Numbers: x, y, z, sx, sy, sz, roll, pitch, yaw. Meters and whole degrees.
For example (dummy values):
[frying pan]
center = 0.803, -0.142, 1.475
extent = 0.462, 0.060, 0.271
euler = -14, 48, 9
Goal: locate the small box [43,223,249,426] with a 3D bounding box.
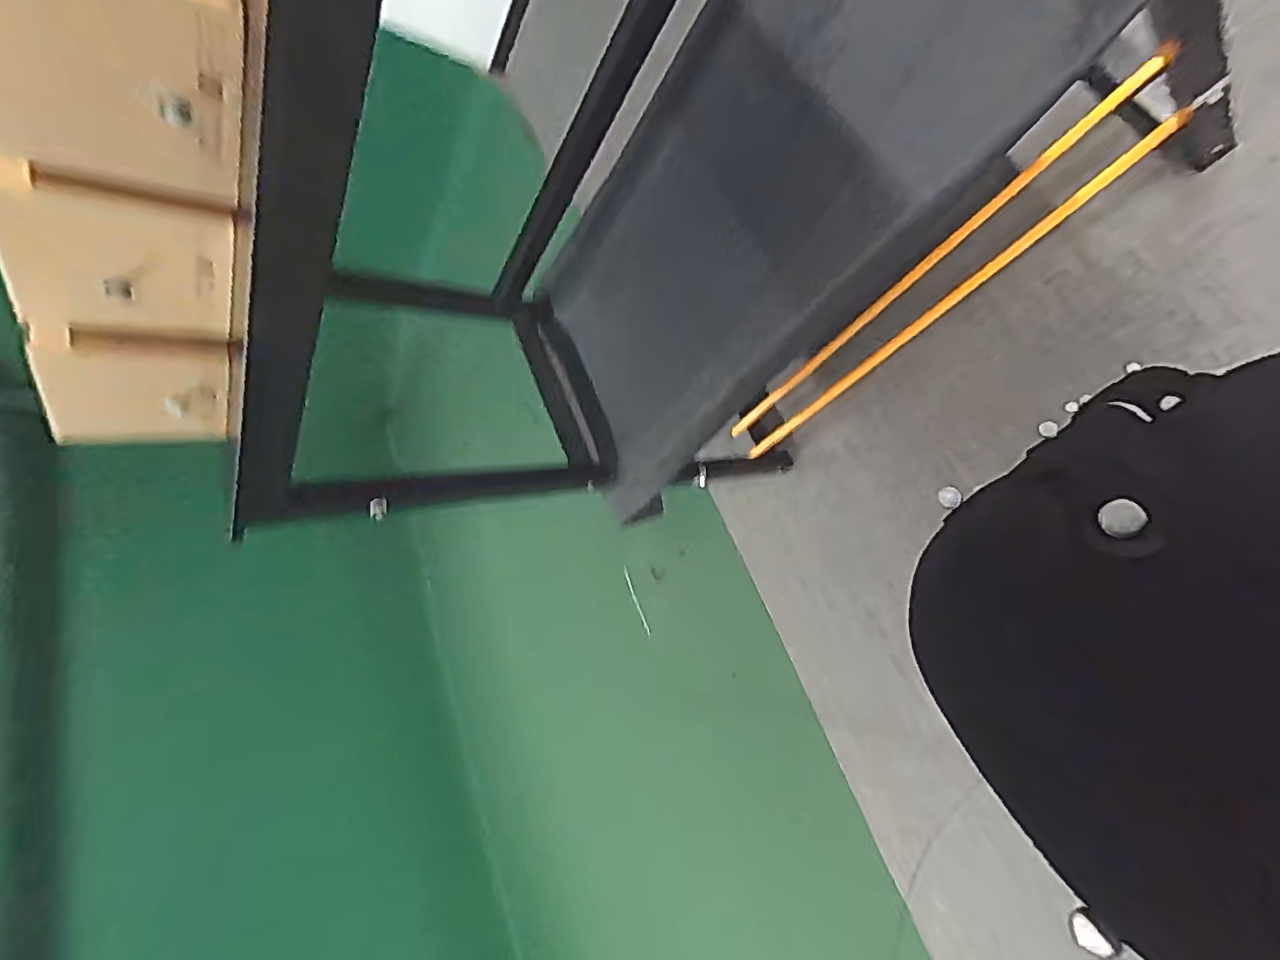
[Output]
[small box]
center = -0.615, -0.182, 0.685
extent = 0.168, 0.176, 0.179
euler = -41, 65, 44
